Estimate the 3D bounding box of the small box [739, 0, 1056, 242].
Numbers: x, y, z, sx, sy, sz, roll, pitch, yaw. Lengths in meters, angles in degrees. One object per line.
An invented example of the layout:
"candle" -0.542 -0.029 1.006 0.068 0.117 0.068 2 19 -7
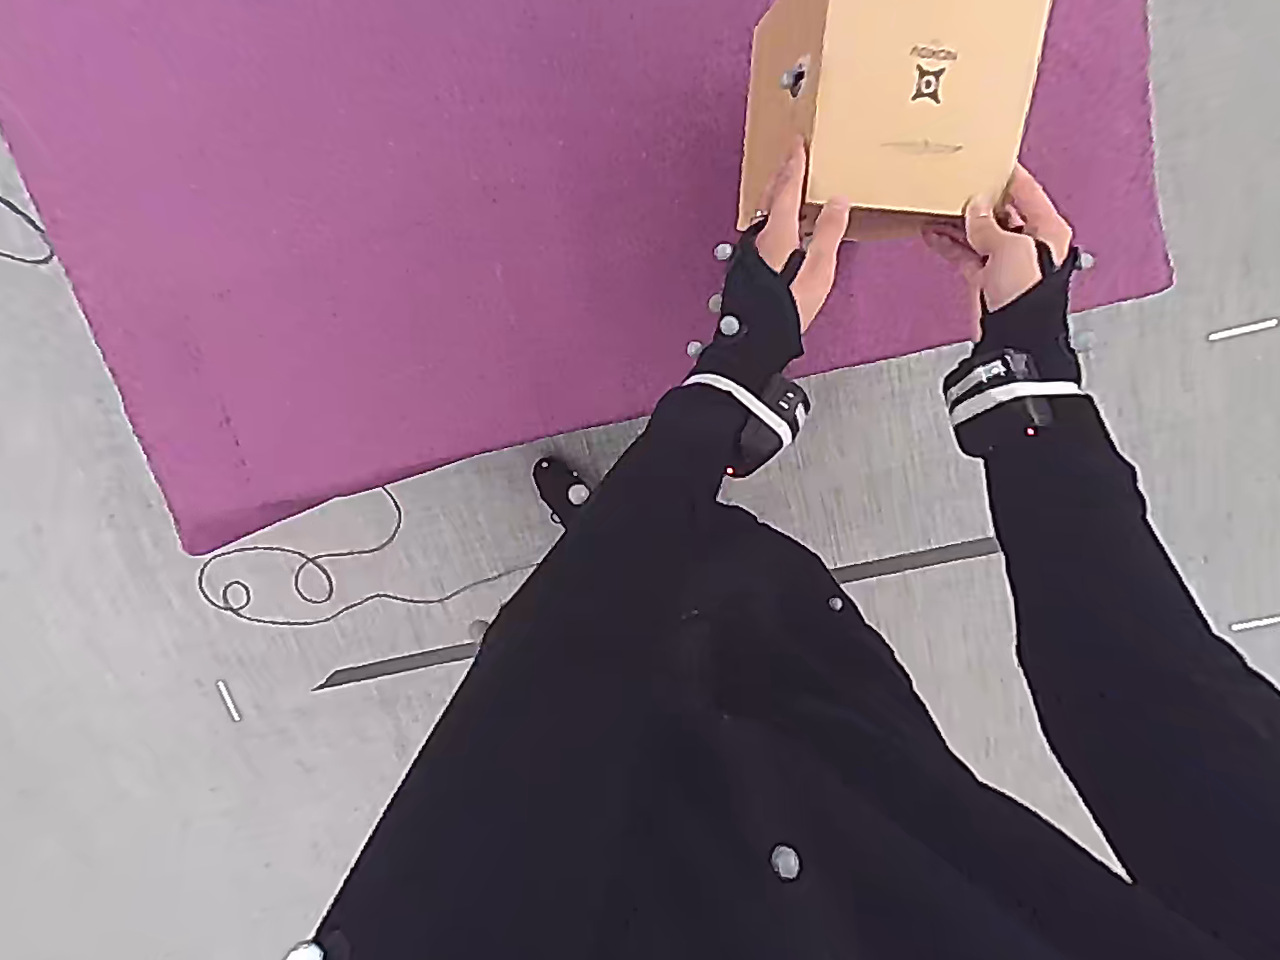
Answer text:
"small box" 0.190 -0.309 0.450 0.168 0.176 0.179 1 108 -8
